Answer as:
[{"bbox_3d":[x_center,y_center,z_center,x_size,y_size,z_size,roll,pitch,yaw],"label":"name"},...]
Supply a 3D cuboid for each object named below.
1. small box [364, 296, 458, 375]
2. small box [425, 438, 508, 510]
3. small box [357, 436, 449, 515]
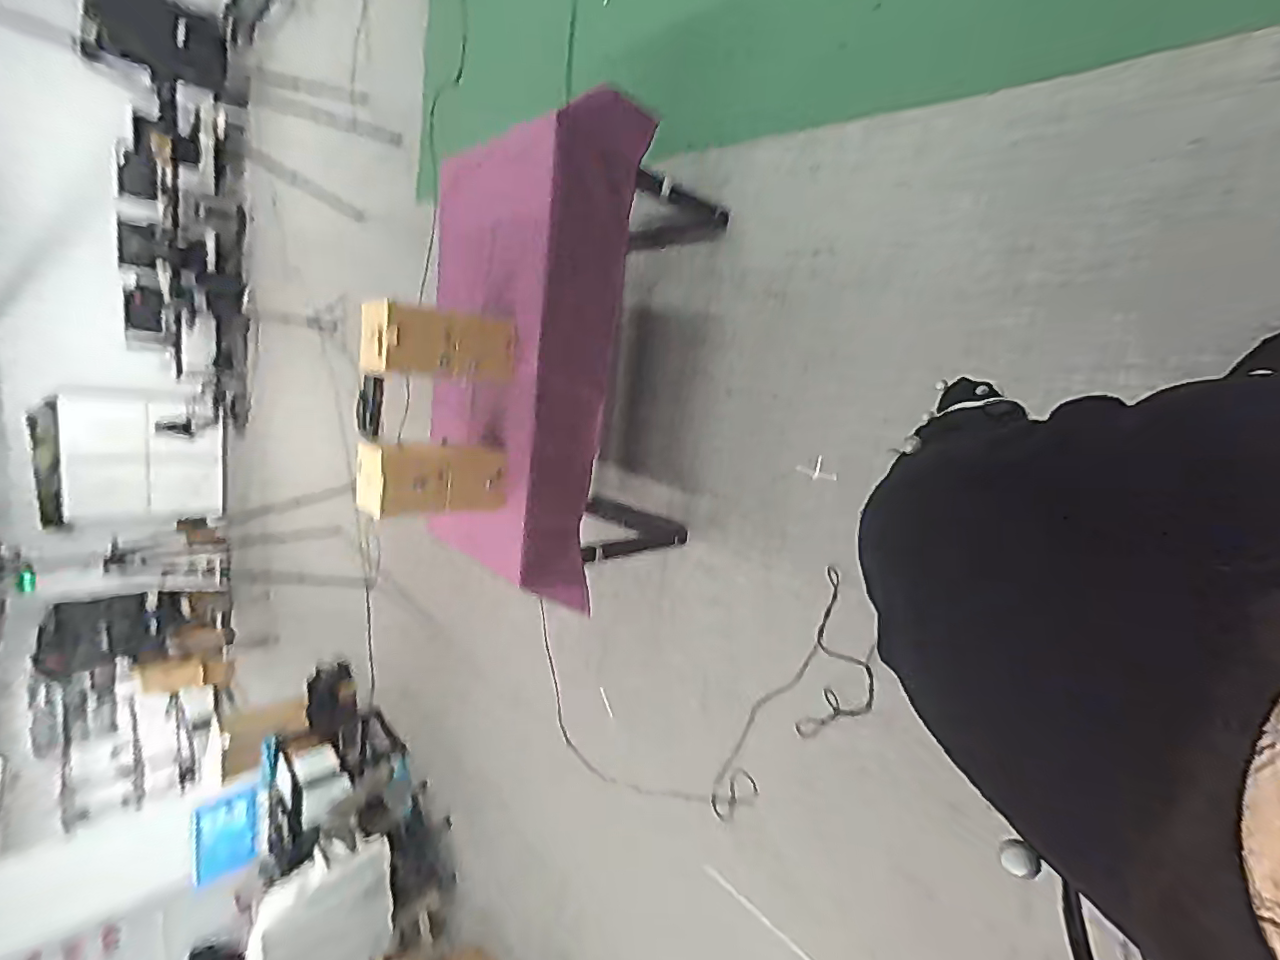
[{"bbox_3d":[-0.568,-0.357,1.344,0.179,0.176,0.168,17,104,45],"label":"small box"},{"bbox_3d":[-0.494,-0.020,1.515,0.179,0.176,0.168,18,105,43],"label":"small box"},{"bbox_3d":[-0.613,-0.017,1.400,0.179,0.176,0.168,18,104,43],"label":"small box"}]
